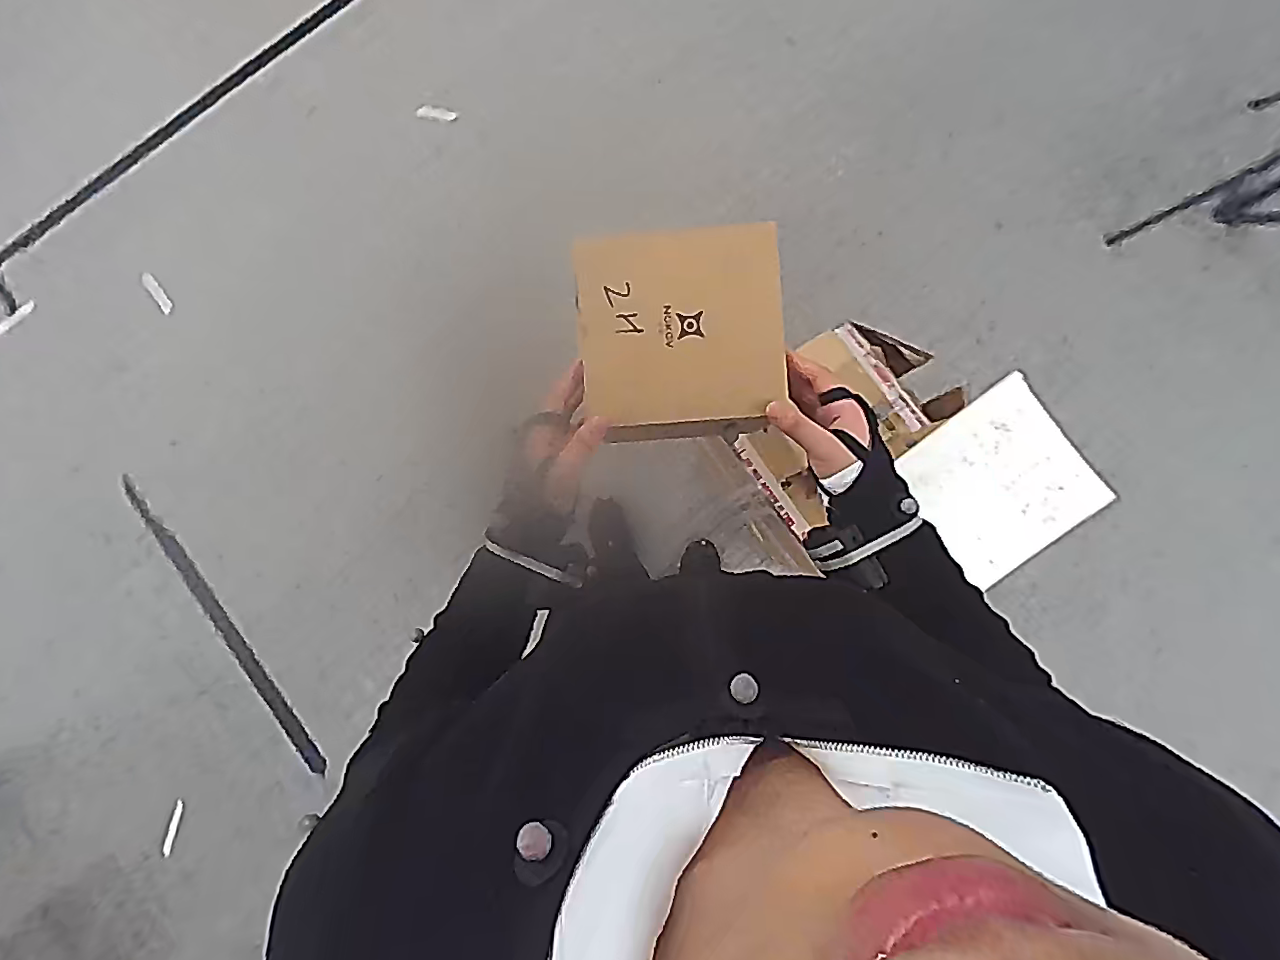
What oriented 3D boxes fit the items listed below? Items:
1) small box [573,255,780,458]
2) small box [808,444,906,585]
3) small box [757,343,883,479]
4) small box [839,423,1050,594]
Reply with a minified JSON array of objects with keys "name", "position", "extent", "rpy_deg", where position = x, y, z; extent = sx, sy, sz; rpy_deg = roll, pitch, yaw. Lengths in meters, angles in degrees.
[{"name":"small box","position":[0.033,-0.112,0.555],"extent":[0.179,0.176,0.168],"rpy_deg":[-4,89,2]},{"name":"small box","position":[0.431,0.059,0.959],"extent":[0.168,0.176,0.179],"rpy_deg":[-40,86,-1]},{"name":"small box","position":[0.298,-0.112,0.980],"extent":[0.168,0.176,0.179],"rpy_deg":[-31,83,1]},{"name":"small box","position":[0.430,0.041,0.798],"extent":[0.179,0.176,0.168],"rpy_deg":[-38,86,-1]}]
